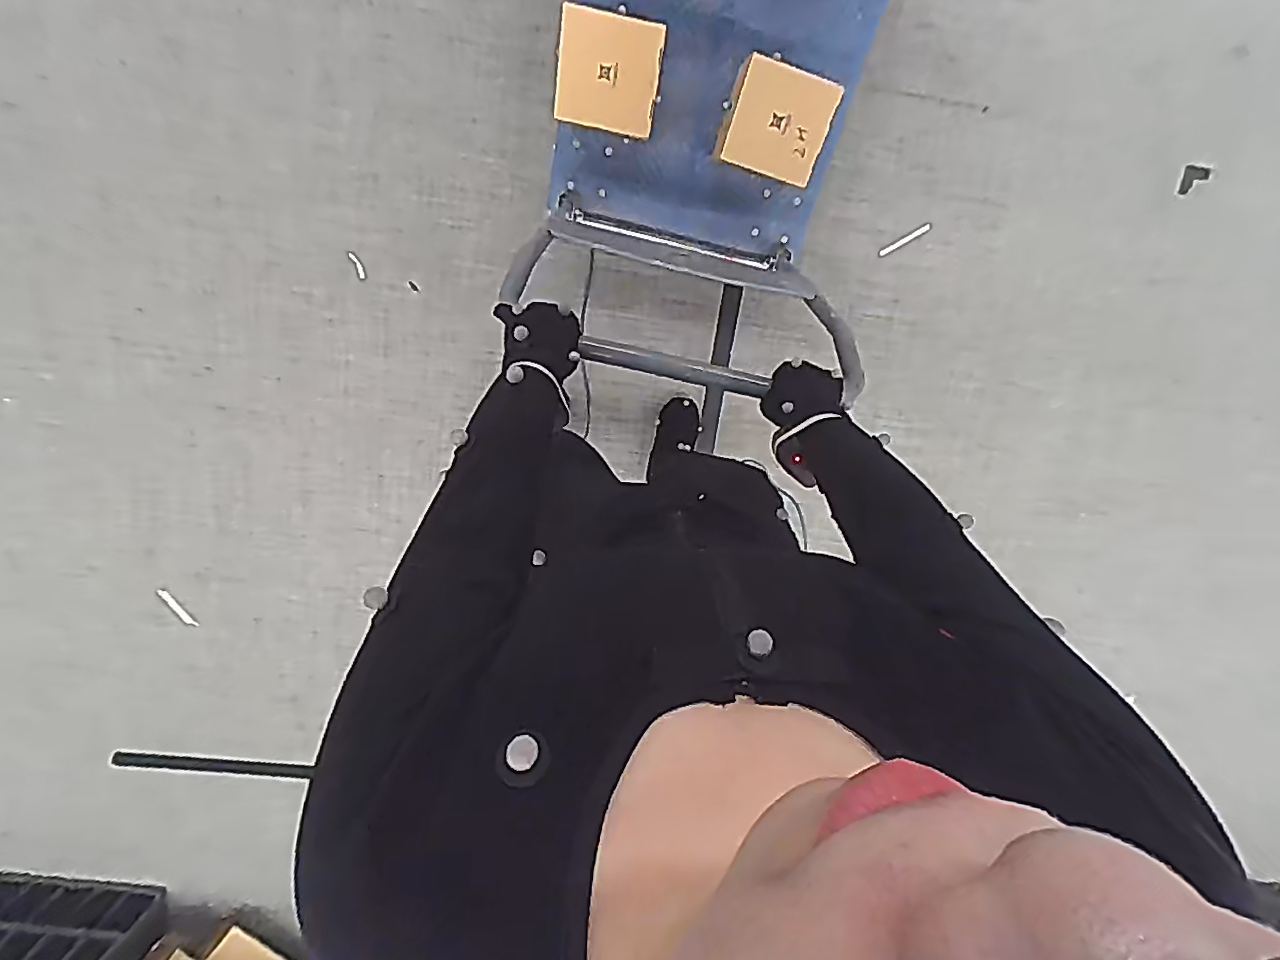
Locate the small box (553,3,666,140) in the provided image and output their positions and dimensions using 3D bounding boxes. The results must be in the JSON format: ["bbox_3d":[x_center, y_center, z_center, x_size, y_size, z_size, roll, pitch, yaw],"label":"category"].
[{"bbox_3d":[-0.057,-0.743,1.004,0.179,0.176,0.168,8,121,-6],"label":"small box"}]

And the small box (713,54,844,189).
[{"bbox_3d":[0.252,-0.678,1.039,0.179,0.176,0.168,15,120,-8],"label":"small box"}]
